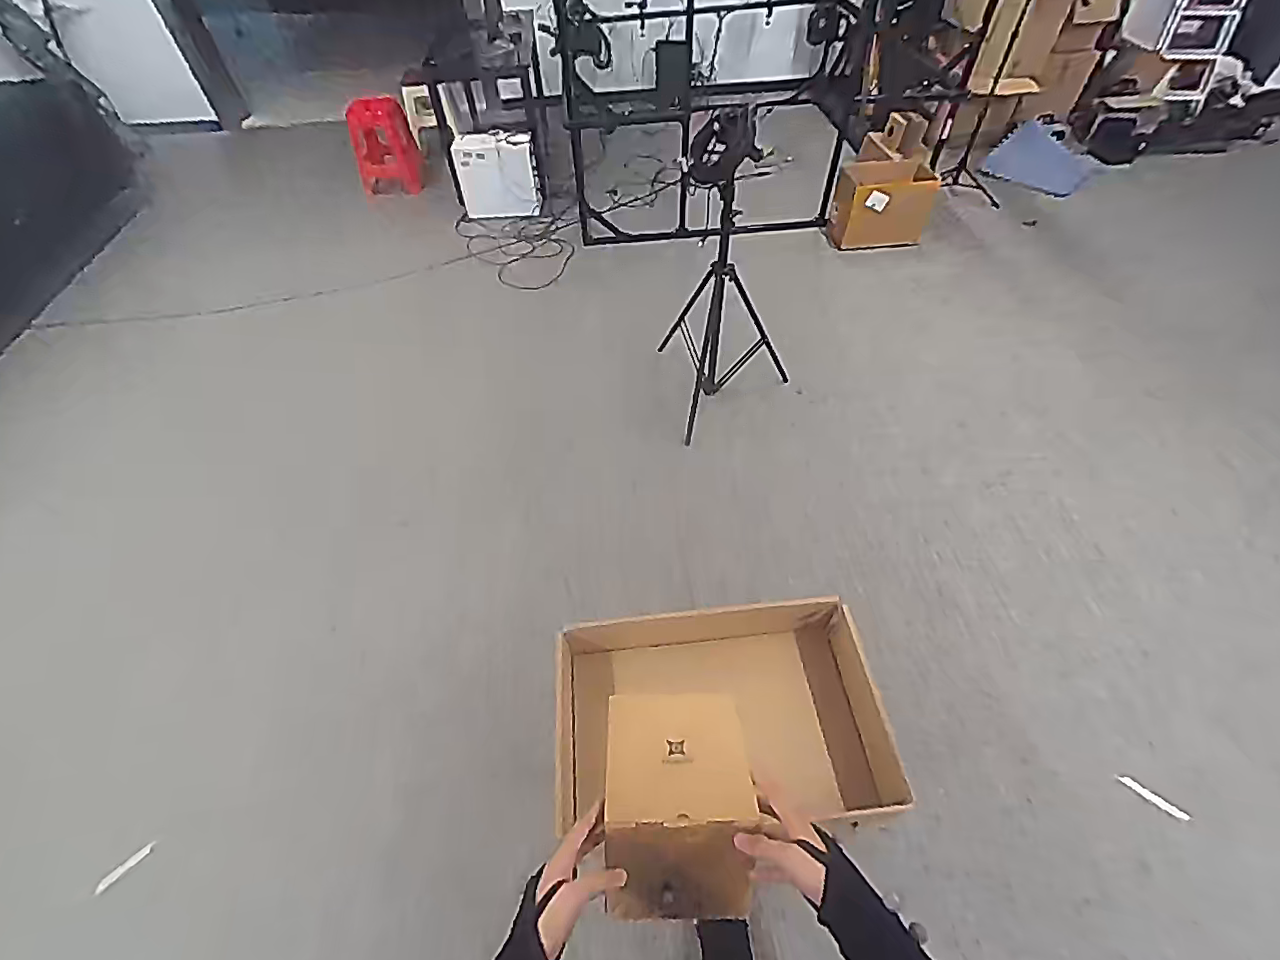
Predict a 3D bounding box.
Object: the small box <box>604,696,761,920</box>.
[{"bbox_3d":[0.041,0.393,0.663,0.168,0.176,0.179,0,24,-2],"label":"small box"}]
